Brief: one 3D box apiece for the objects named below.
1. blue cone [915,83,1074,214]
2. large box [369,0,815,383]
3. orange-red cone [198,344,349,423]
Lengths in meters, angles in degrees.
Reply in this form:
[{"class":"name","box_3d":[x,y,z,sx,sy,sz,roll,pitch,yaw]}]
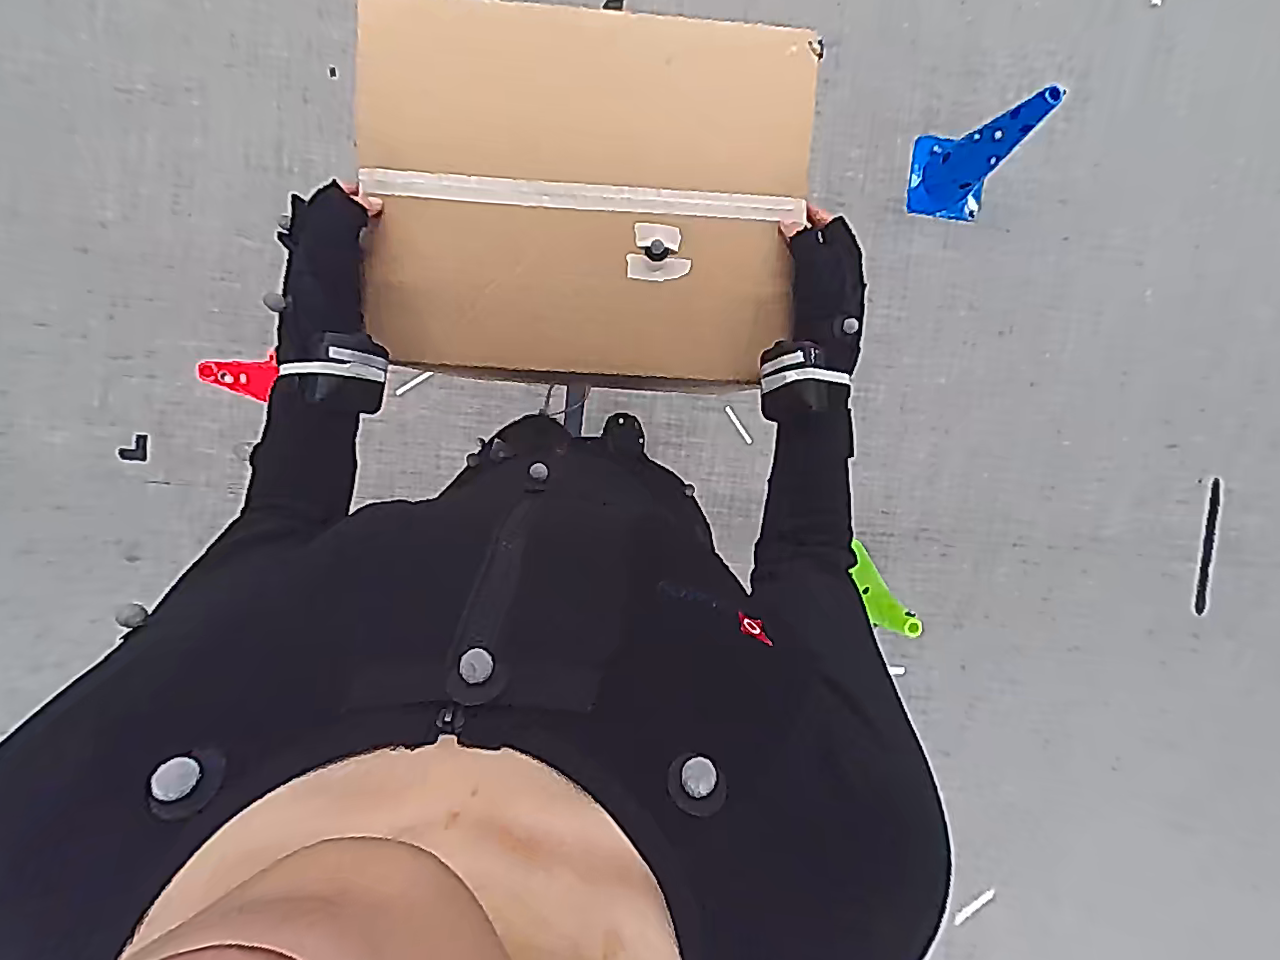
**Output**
[{"class":"blue cone","box_3d":[0.842,-0.802,1.278,0.192,0.380,0.193,8,94,-4]},{"class":"large box","box_3d":[-0.053,-0.286,0.645,0.408,0.320,0.320,3,98,-3]},{"class":"orange-red cone","box_3d":[-0.855,-0.234,1.239,0.198,0.360,0.199,3,96,-2]}]
